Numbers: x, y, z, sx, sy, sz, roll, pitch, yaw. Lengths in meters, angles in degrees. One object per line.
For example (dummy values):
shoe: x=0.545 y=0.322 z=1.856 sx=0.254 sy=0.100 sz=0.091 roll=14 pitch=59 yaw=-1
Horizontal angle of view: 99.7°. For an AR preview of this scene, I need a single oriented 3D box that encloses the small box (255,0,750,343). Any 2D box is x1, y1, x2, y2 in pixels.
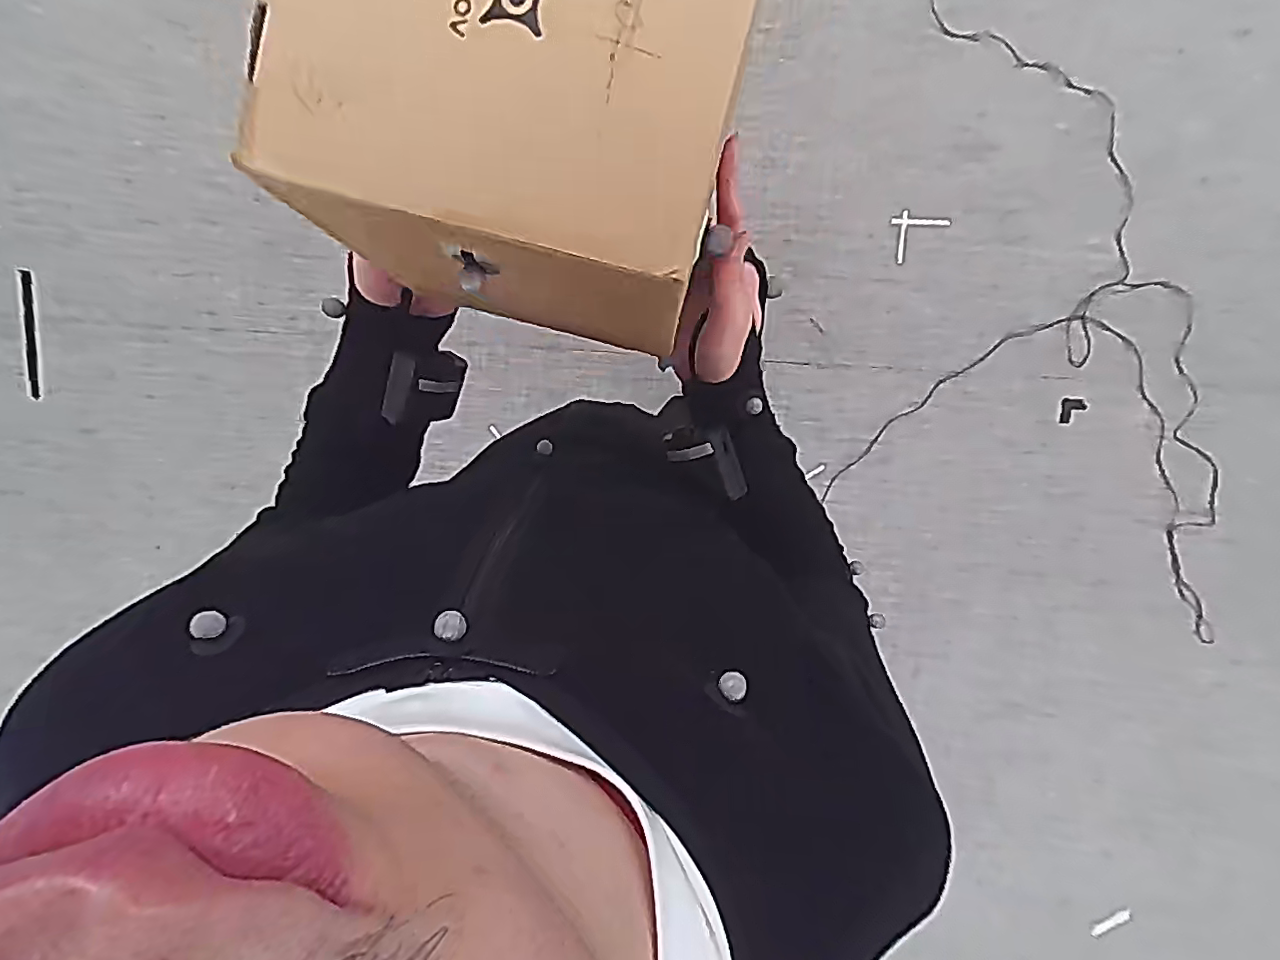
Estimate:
small box: x=-0.049 y=-0.182 z=0.288 sx=0.179 sy=0.176 sz=0.168 roll=13 pitch=94 yaw=0
